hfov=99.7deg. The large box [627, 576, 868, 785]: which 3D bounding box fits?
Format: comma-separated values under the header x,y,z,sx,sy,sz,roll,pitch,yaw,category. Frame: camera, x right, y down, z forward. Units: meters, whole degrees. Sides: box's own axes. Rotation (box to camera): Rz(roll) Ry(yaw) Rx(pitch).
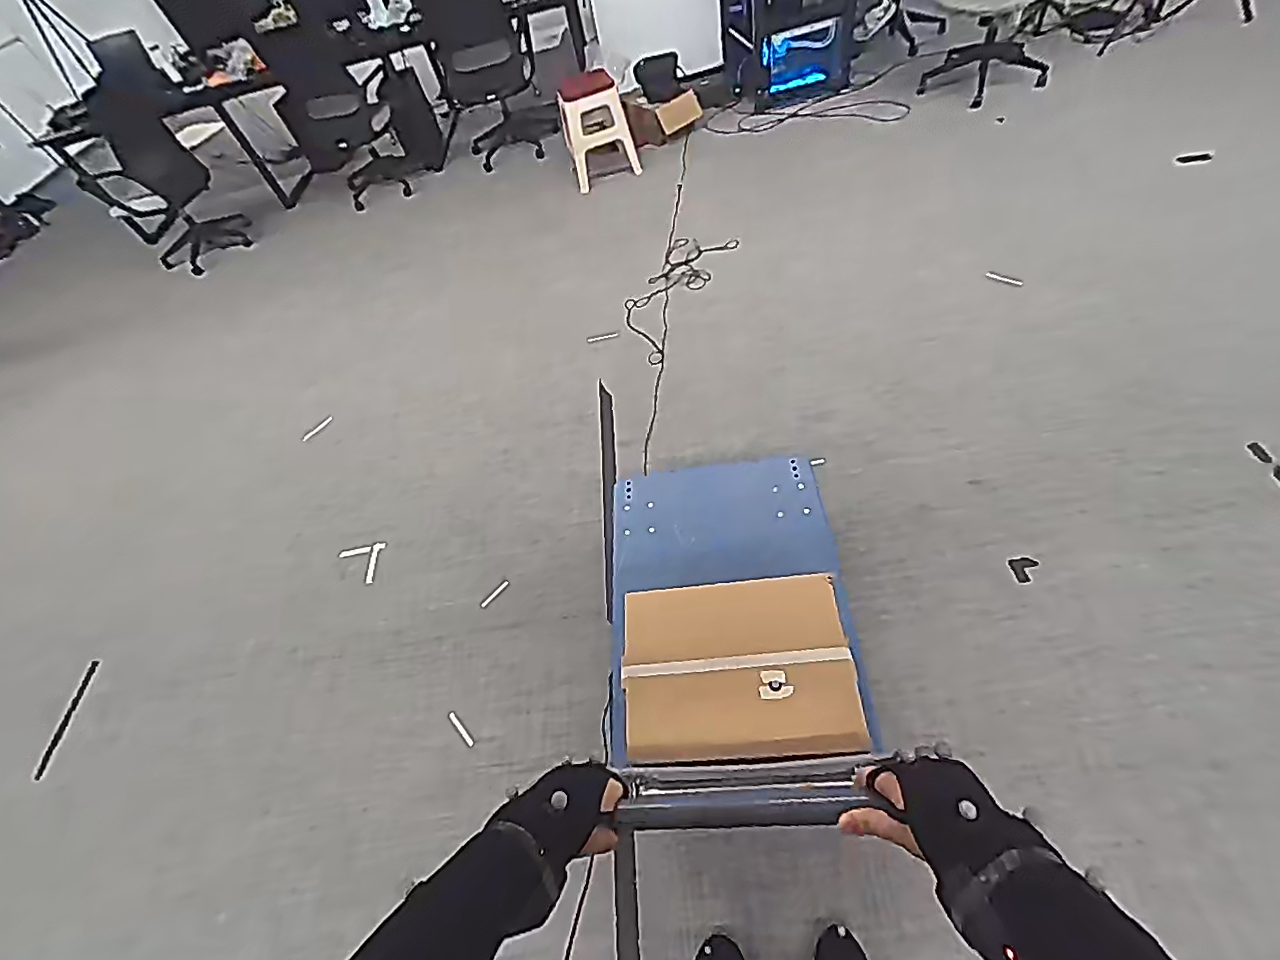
x,y,z,sx,sy,sz,roll,pitch,yaw,category
0.200,0.425,1.115,0.408,0.320,0.320,-8,56,7,large box
